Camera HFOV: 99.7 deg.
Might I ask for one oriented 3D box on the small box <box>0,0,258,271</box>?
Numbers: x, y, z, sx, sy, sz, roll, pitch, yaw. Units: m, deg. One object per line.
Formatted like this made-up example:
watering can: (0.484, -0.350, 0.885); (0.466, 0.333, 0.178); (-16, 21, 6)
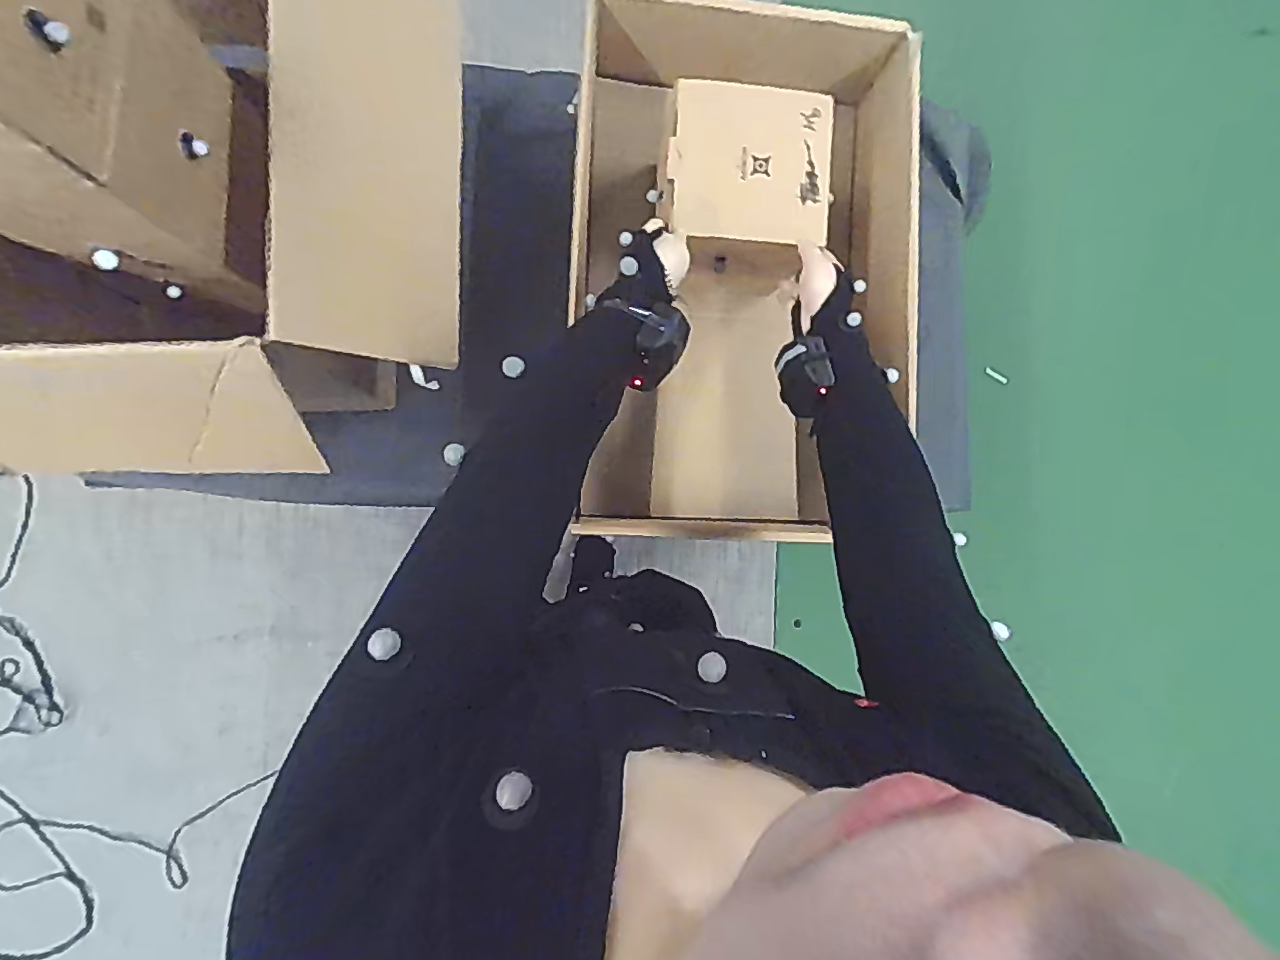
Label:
small box: (-0.459, -0.303, 0.457); (0.168, 0.176, 0.179); (4, 89, -7)
